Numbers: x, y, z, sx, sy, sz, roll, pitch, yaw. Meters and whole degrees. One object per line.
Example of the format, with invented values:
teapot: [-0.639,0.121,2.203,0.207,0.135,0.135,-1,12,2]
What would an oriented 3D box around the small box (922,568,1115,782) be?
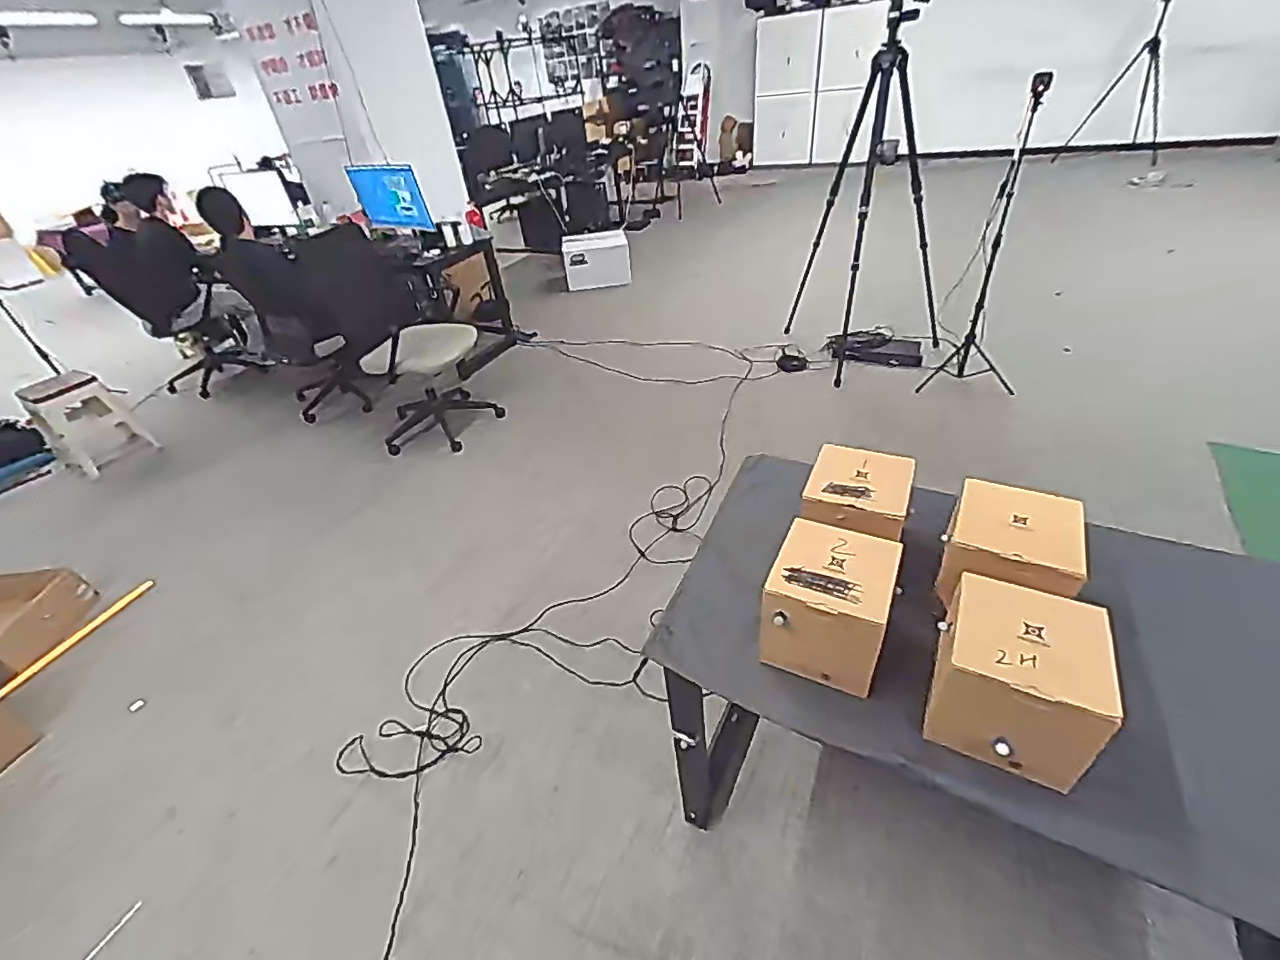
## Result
small box: [0.492,0.255,0.723,0.168,0.176,0.179,15,41,26]

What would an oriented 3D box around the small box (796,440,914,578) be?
small box: [0.393,0.054,1.003,0.168,0.176,0.179,14,42,24]

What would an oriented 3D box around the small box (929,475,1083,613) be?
small box: [0.590,0.124,0.884,0.168,0.176,0.179,16,44,26]
